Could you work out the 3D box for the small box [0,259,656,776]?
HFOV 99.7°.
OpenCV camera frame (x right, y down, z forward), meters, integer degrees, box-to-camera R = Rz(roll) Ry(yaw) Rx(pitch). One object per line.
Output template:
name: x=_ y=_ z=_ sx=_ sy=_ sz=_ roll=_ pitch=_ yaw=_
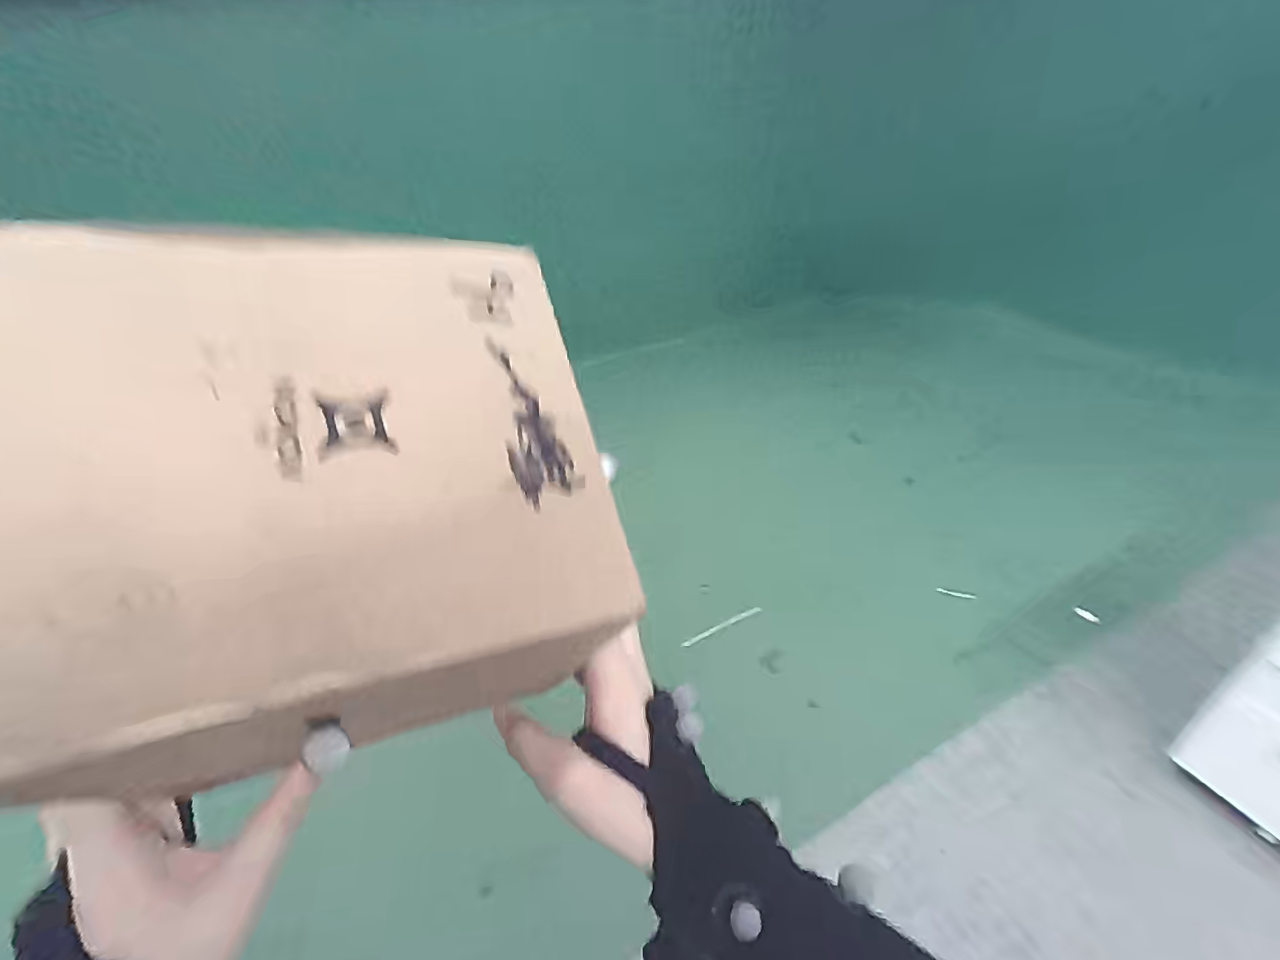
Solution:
small box: x=-0.117 y=0.025 z=0.251 sx=0.179 sy=0.176 sz=0.168 roll=-7 pitch=65 yaw=-23
